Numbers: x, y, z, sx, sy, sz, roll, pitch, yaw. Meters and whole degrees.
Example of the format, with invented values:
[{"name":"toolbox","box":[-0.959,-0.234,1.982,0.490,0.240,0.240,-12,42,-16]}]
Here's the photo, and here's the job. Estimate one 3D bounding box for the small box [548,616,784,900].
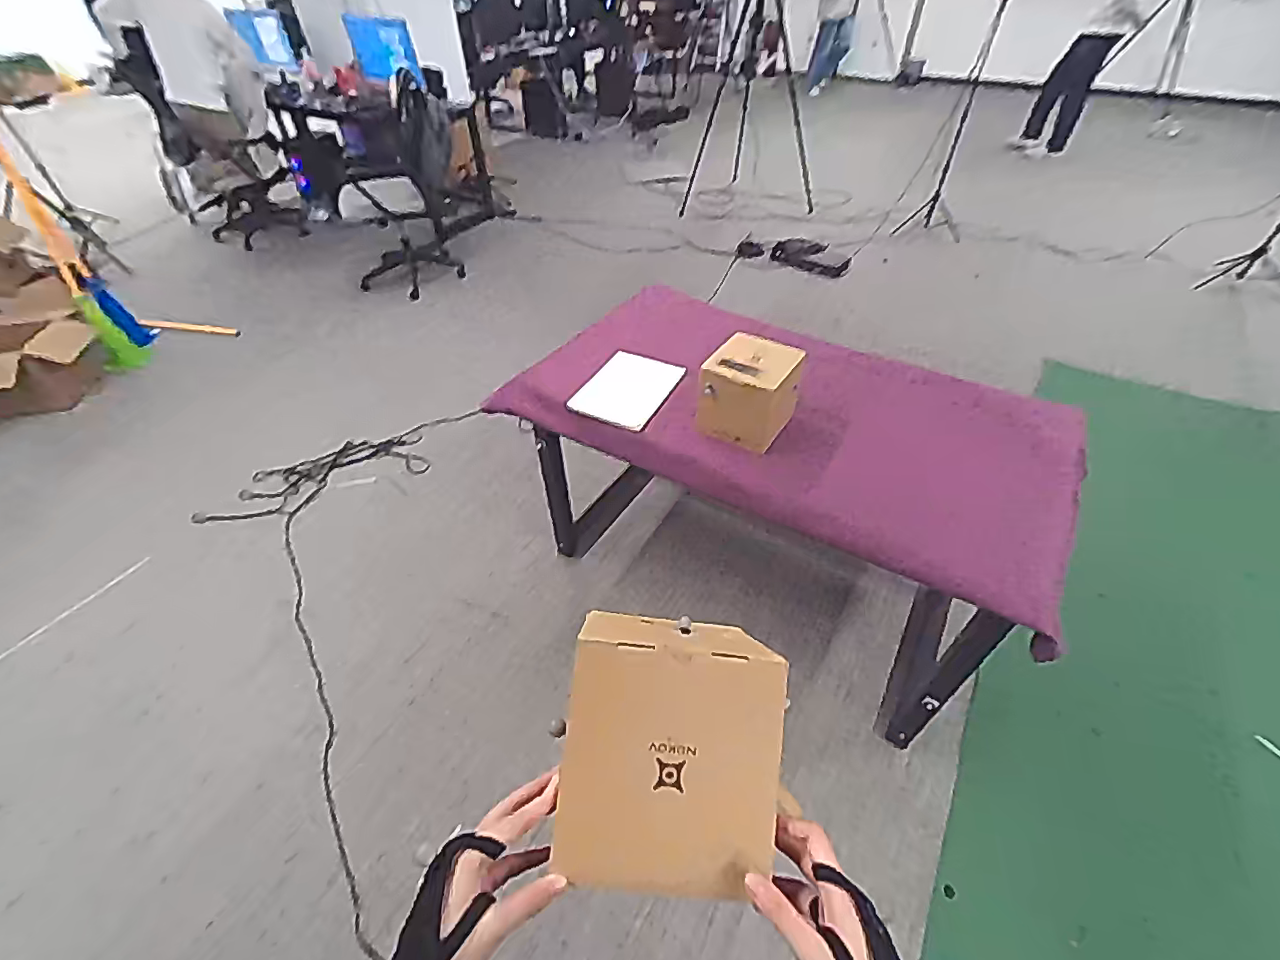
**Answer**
[{"name":"small box","box":[0.020,0.227,0.489,0.168,0.176,0.179,7,80,-1]}]
